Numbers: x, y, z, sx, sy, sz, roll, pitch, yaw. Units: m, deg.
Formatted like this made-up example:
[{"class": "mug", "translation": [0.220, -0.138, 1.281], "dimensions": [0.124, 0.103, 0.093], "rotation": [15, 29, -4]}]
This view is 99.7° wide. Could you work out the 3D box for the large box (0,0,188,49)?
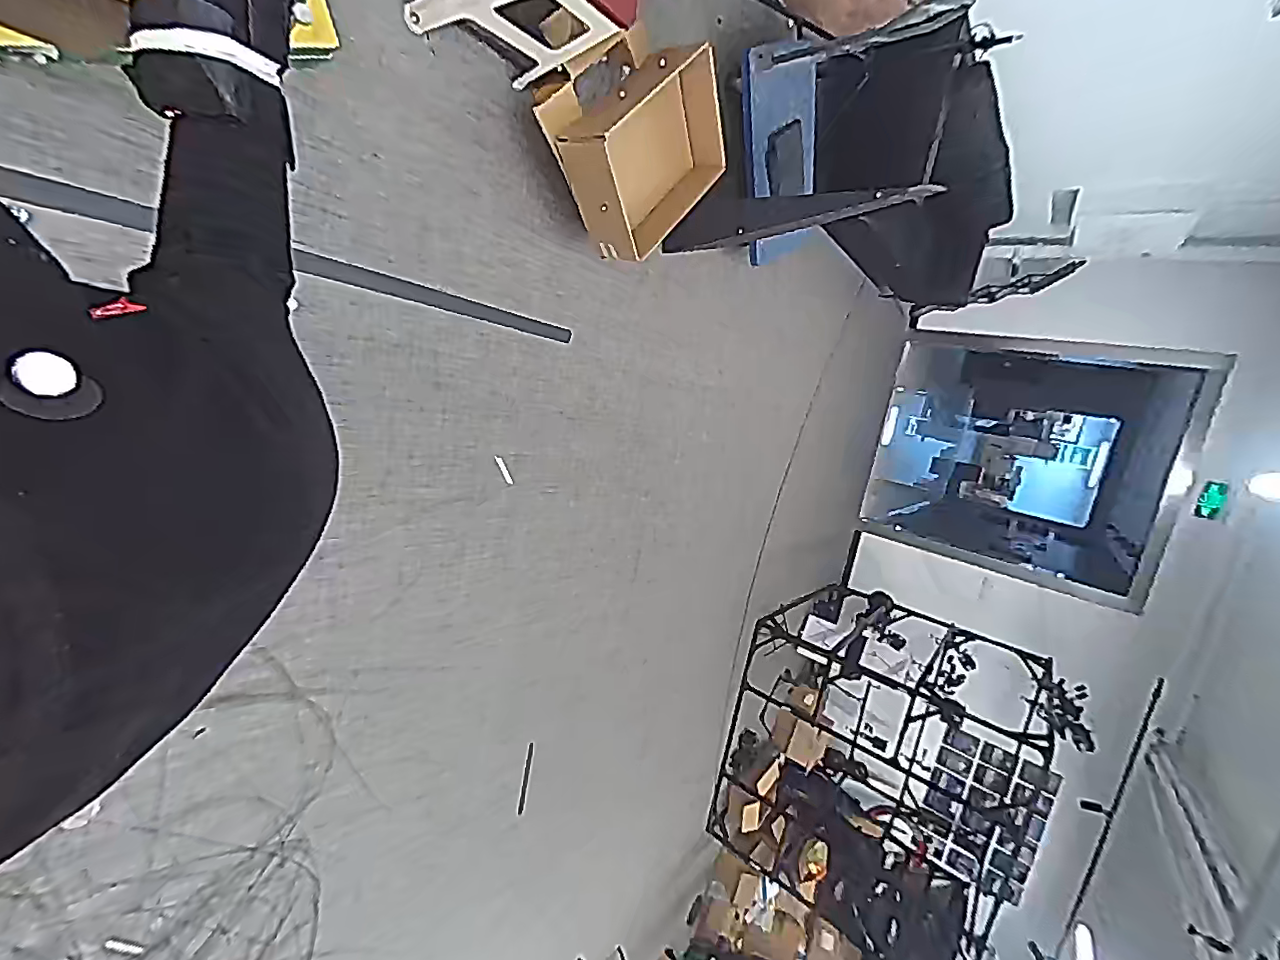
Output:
[{"class": "large box", "translation": [-0.505, -0.480, 0.242], "dimensions": [0.408, 0.320, 0.320], "rotation": [-9, 119, -55]}]
